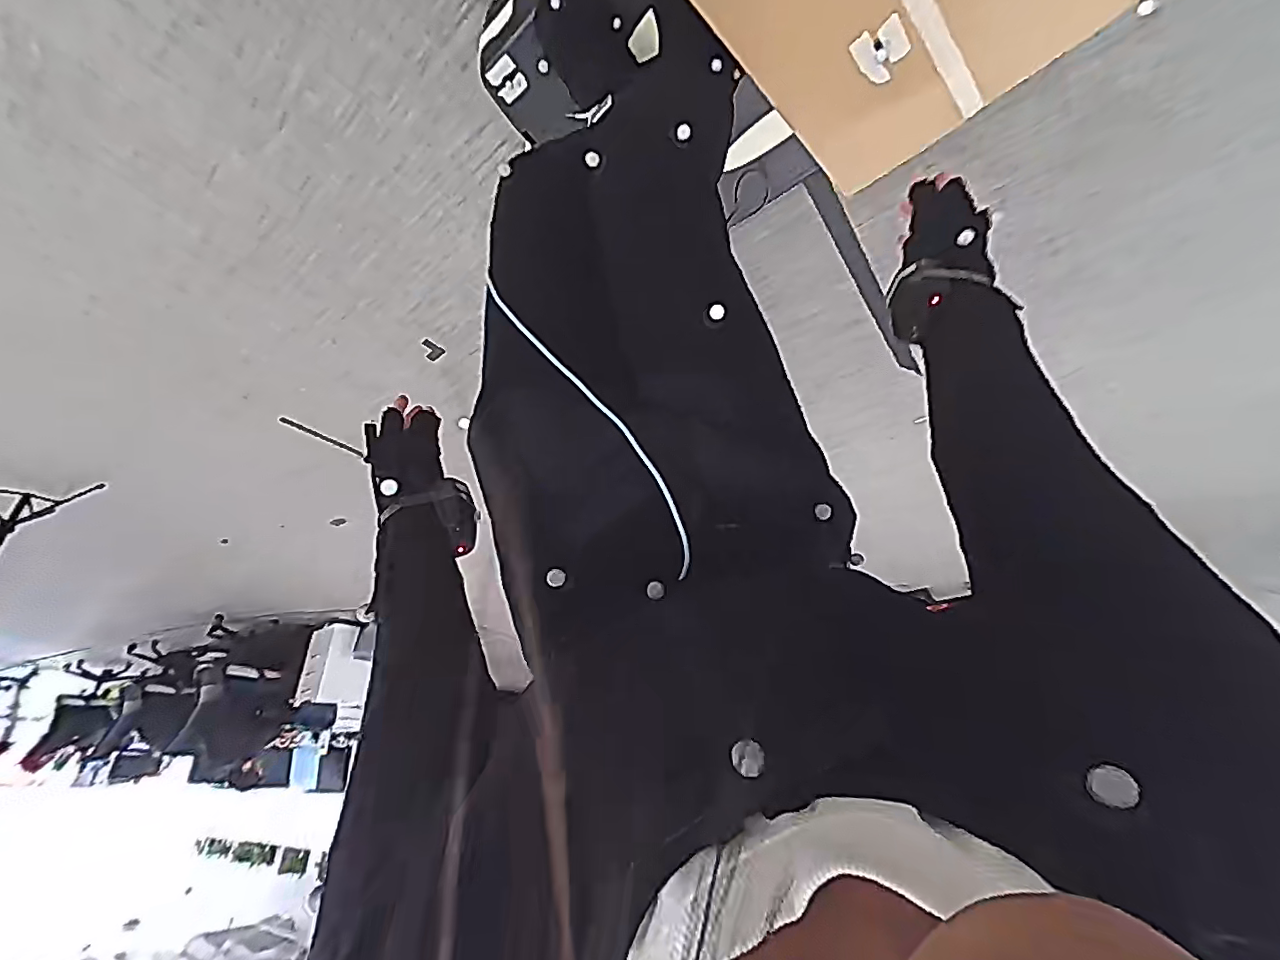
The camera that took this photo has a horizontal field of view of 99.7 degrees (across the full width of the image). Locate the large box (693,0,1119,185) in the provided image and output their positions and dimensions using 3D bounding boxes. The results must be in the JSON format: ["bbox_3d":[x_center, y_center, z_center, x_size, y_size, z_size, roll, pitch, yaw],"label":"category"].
[{"bbox_3d":[0.240,-0.628,0.559,0.408,0.320,0.320,23,150,-36],"label":"large box"}]
